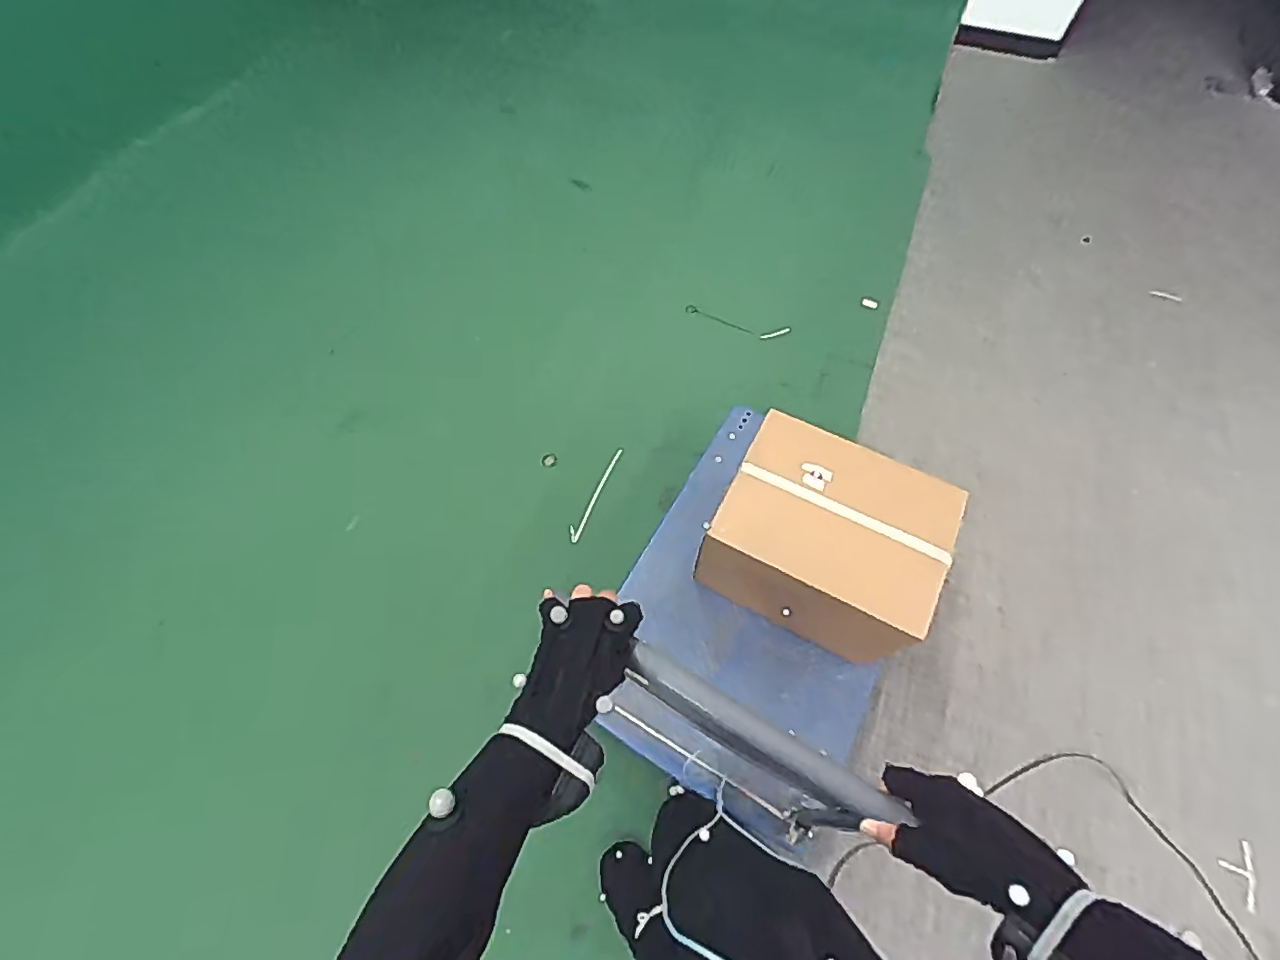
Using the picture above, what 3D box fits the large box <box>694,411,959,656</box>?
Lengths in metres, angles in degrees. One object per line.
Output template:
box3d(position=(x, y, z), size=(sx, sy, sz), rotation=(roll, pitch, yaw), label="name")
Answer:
box3d(position=(0.363, 0.123, 1.137), size=(0.408, 0.320, 0.320), rotation=(26, 67, 14), label="large box")
